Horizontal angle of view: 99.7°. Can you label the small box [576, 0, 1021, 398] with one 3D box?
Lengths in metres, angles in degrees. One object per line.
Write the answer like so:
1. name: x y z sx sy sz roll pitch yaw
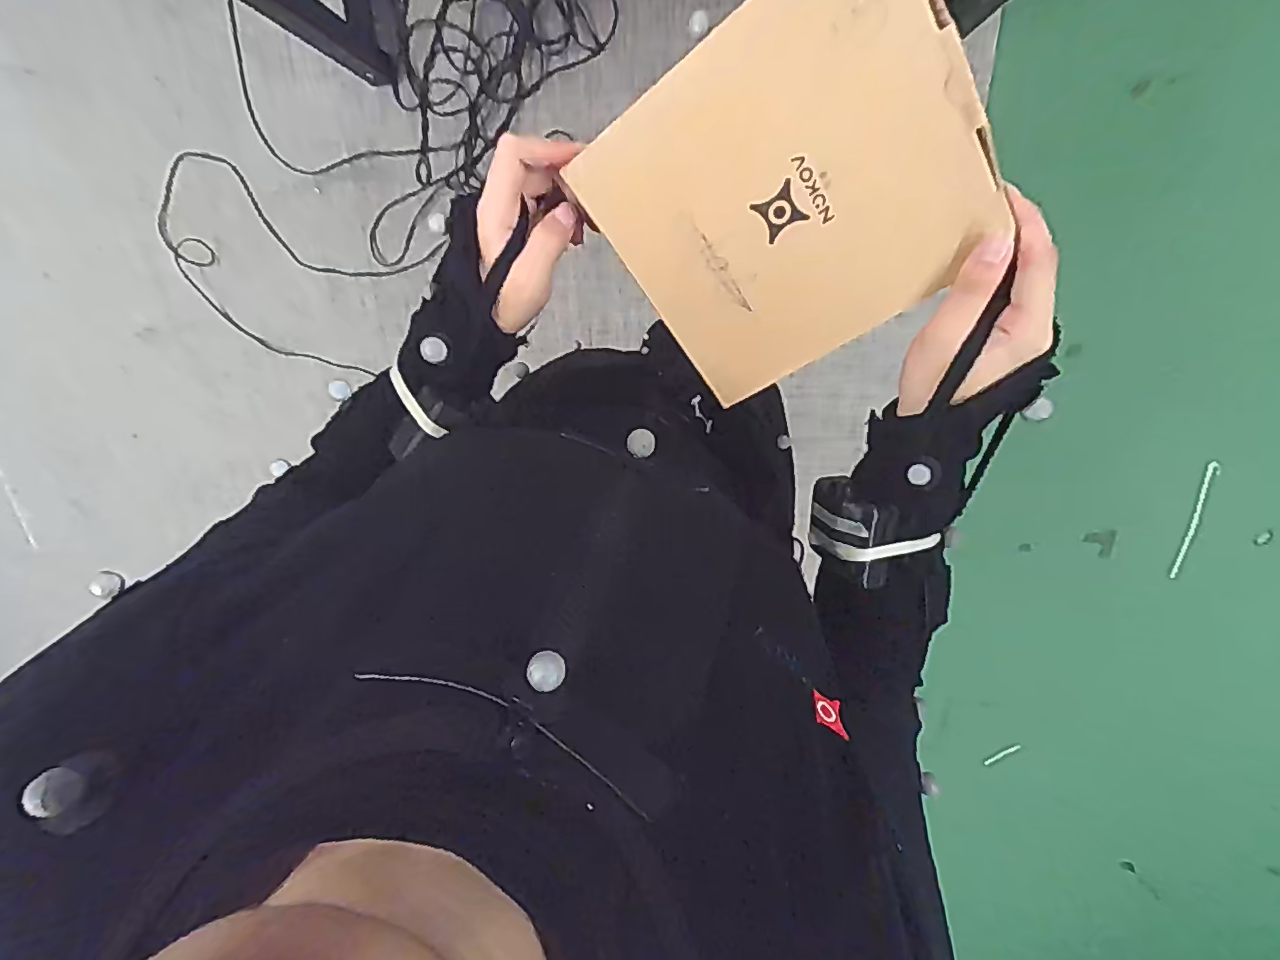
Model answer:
1. small box: 0.089 -0.190 0.343 0.179 0.176 0.168 -28 115 26
